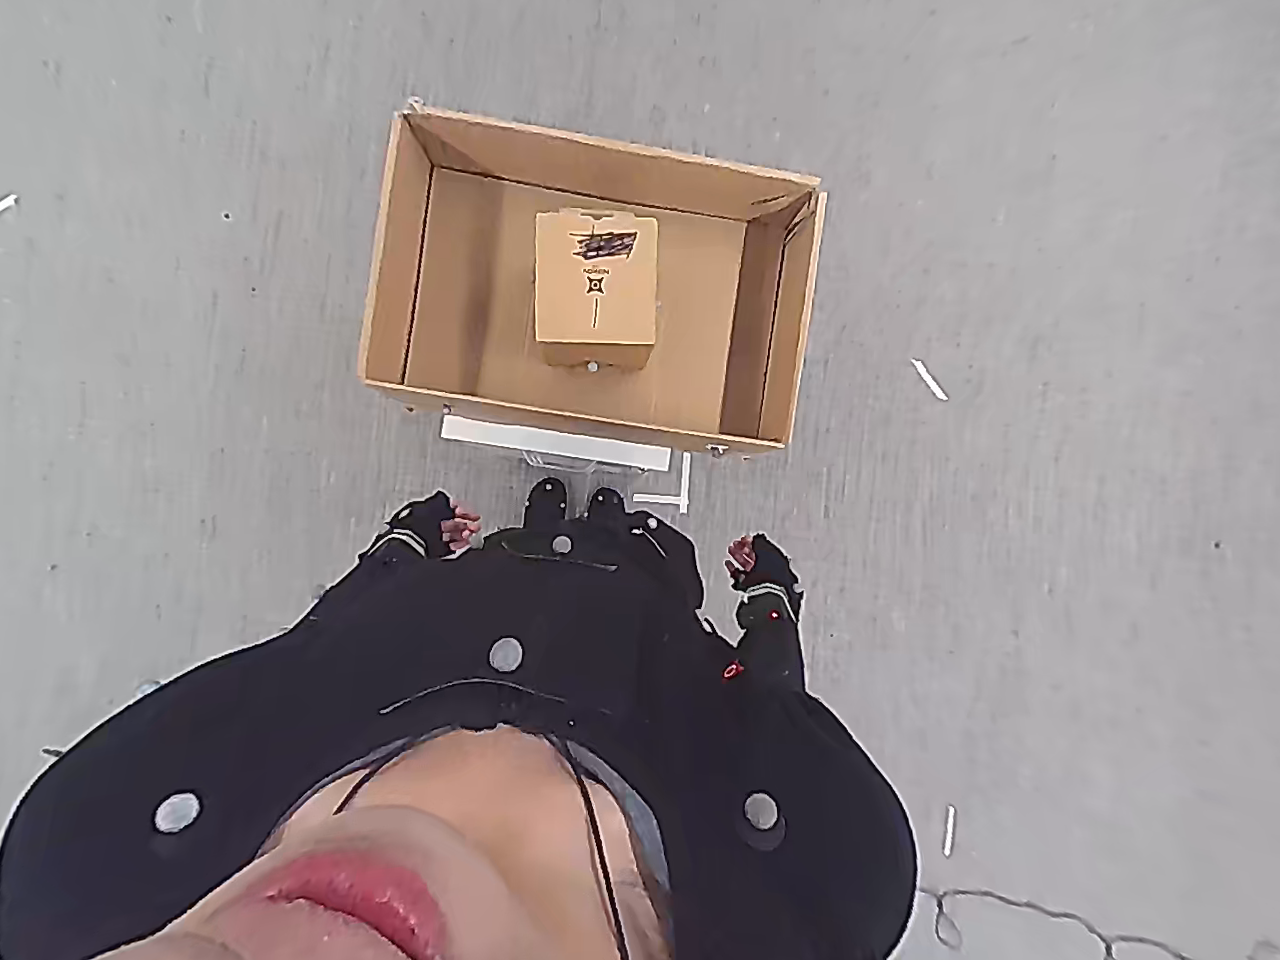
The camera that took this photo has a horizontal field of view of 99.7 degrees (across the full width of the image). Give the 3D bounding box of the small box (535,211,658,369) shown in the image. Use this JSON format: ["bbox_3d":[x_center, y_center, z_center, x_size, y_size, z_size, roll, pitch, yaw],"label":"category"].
[{"bbox_3d":[-0.065,-0.273,0.811,0.168,0.176,0.179,1,91,-4],"label":"small box"}]
